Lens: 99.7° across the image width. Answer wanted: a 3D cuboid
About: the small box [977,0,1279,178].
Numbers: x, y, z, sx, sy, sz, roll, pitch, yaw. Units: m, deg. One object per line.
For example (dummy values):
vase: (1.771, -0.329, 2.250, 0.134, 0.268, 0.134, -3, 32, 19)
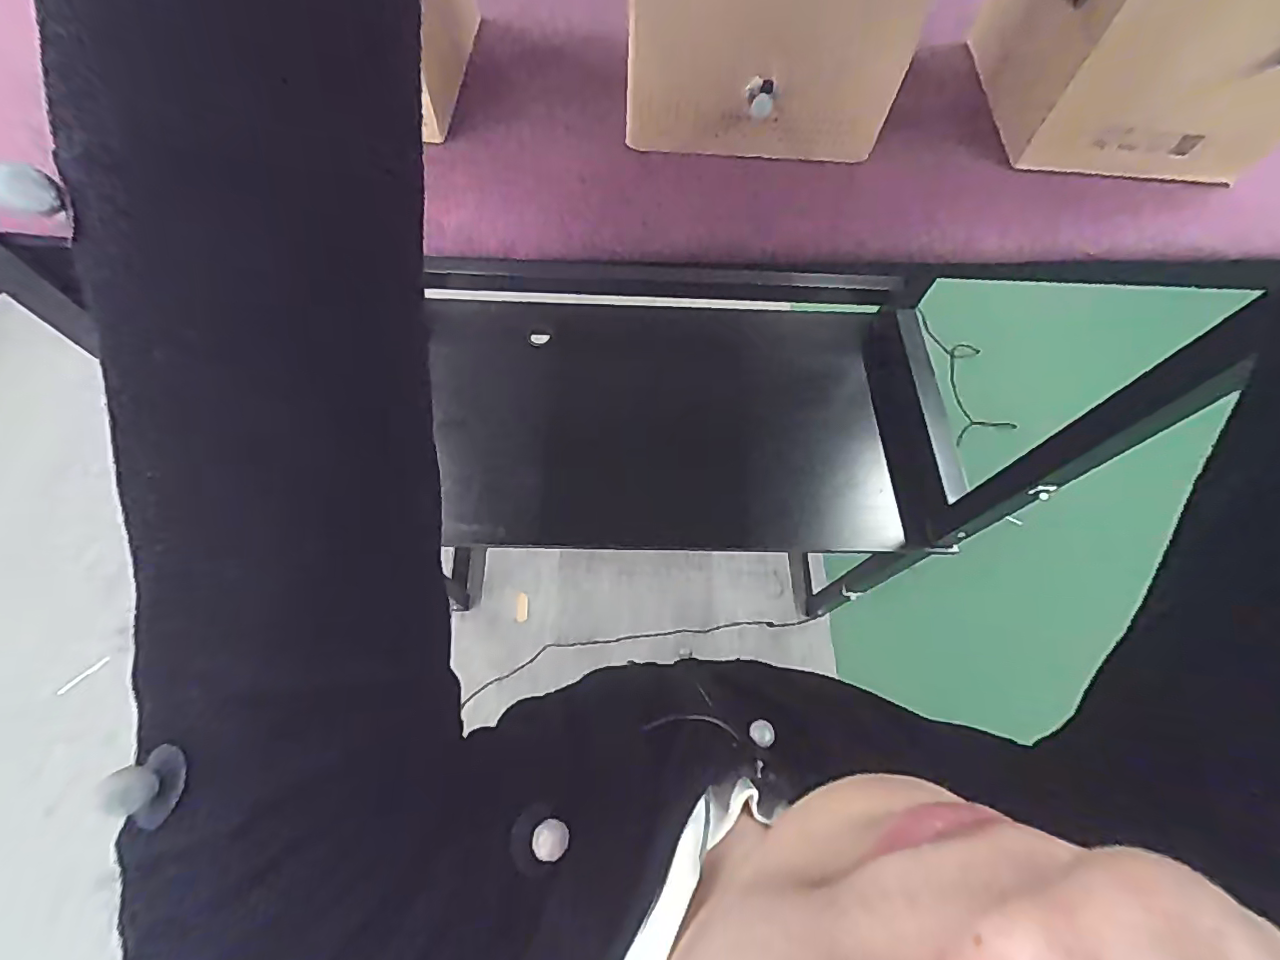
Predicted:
small box: (0.361, -0.330, 0.355, 0.168, 0.176, 0.179, 5, 64, 0)
